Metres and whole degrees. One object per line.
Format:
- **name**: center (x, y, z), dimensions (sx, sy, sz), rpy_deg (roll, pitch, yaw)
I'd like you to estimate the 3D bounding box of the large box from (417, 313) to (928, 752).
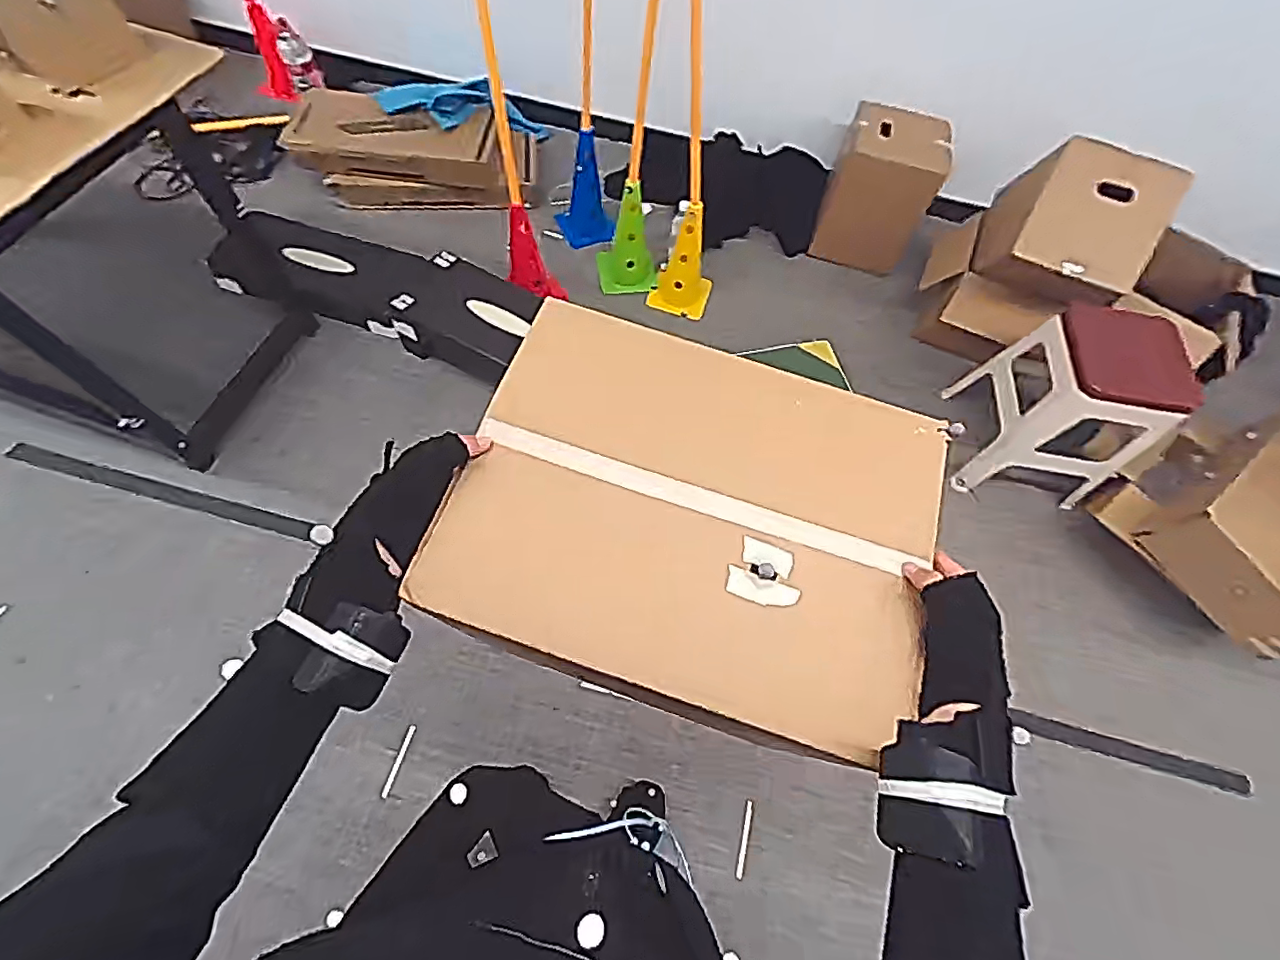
- **large box**: center (0.037, 0.076, 0.615), dimensions (0.408, 0.320, 0.320), rpy_deg (18, 68, 2)
